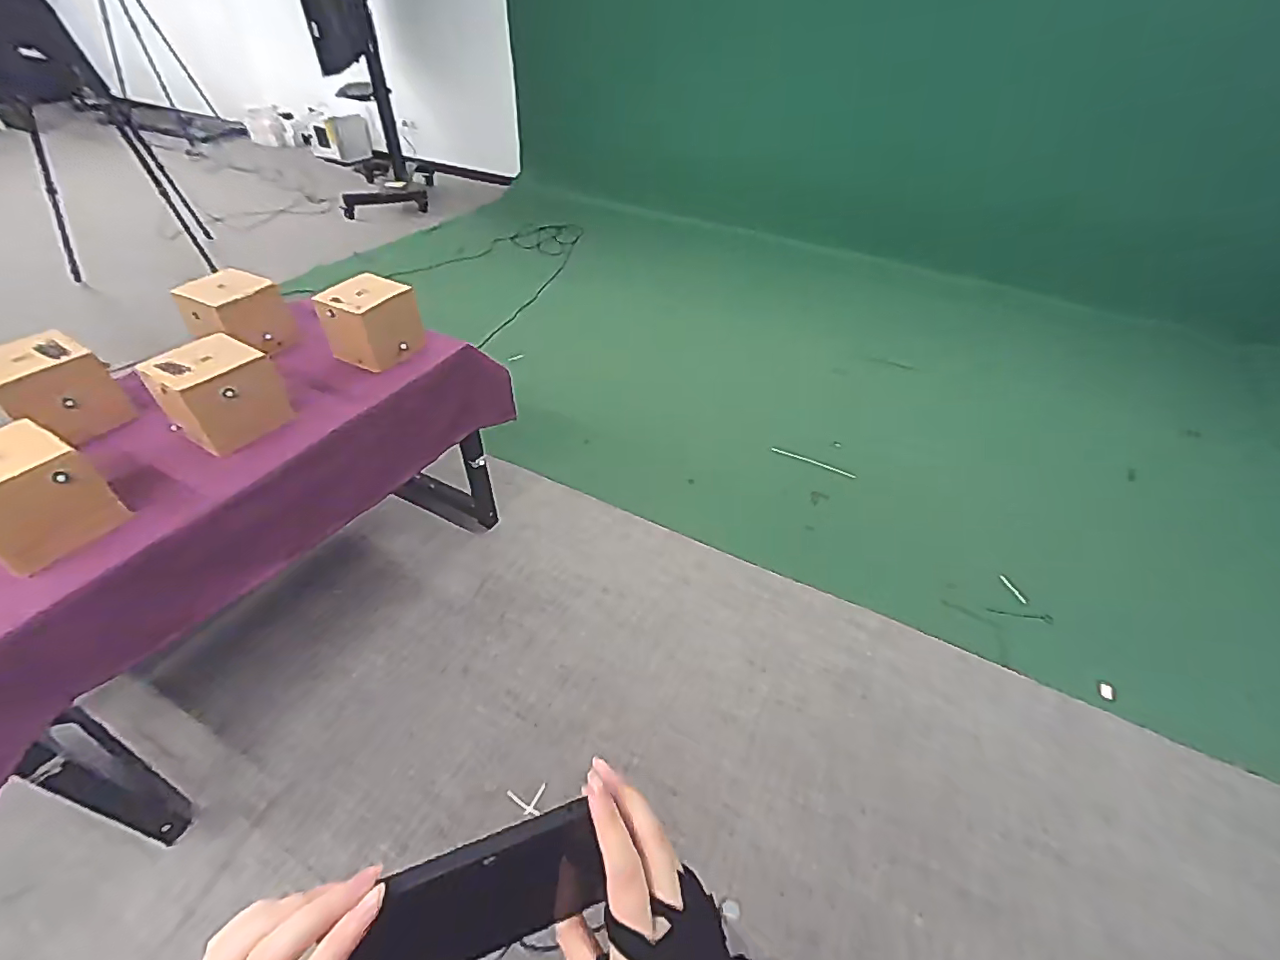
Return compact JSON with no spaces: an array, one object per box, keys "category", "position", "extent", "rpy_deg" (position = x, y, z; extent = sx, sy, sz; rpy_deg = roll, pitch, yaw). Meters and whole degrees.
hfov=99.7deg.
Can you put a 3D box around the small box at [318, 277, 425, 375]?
[{"category":"small box","position":[-0.686,-0.401,1.409],"extent":[0.168,0.176,0.179],"rpy_deg":[21,46,19]}]

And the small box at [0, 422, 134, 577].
[{"category":"small box","position":[-1.046,0.034,0.927],"extent":[0.168,0.176,0.179],"rpy_deg":[23,46,20]}]

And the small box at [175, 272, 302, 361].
[{"category":"small box","position":[-1.031,-0.414,1.403],"extent":[0.179,0.176,0.168],"rpy_deg":[20,46,17]}]

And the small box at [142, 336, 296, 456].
[{"category":"small box","position":[-0.891,-0.179,1.161],"extent":[0.168,0.176,0.179],"rpy_deg":[24,46,21]}]
